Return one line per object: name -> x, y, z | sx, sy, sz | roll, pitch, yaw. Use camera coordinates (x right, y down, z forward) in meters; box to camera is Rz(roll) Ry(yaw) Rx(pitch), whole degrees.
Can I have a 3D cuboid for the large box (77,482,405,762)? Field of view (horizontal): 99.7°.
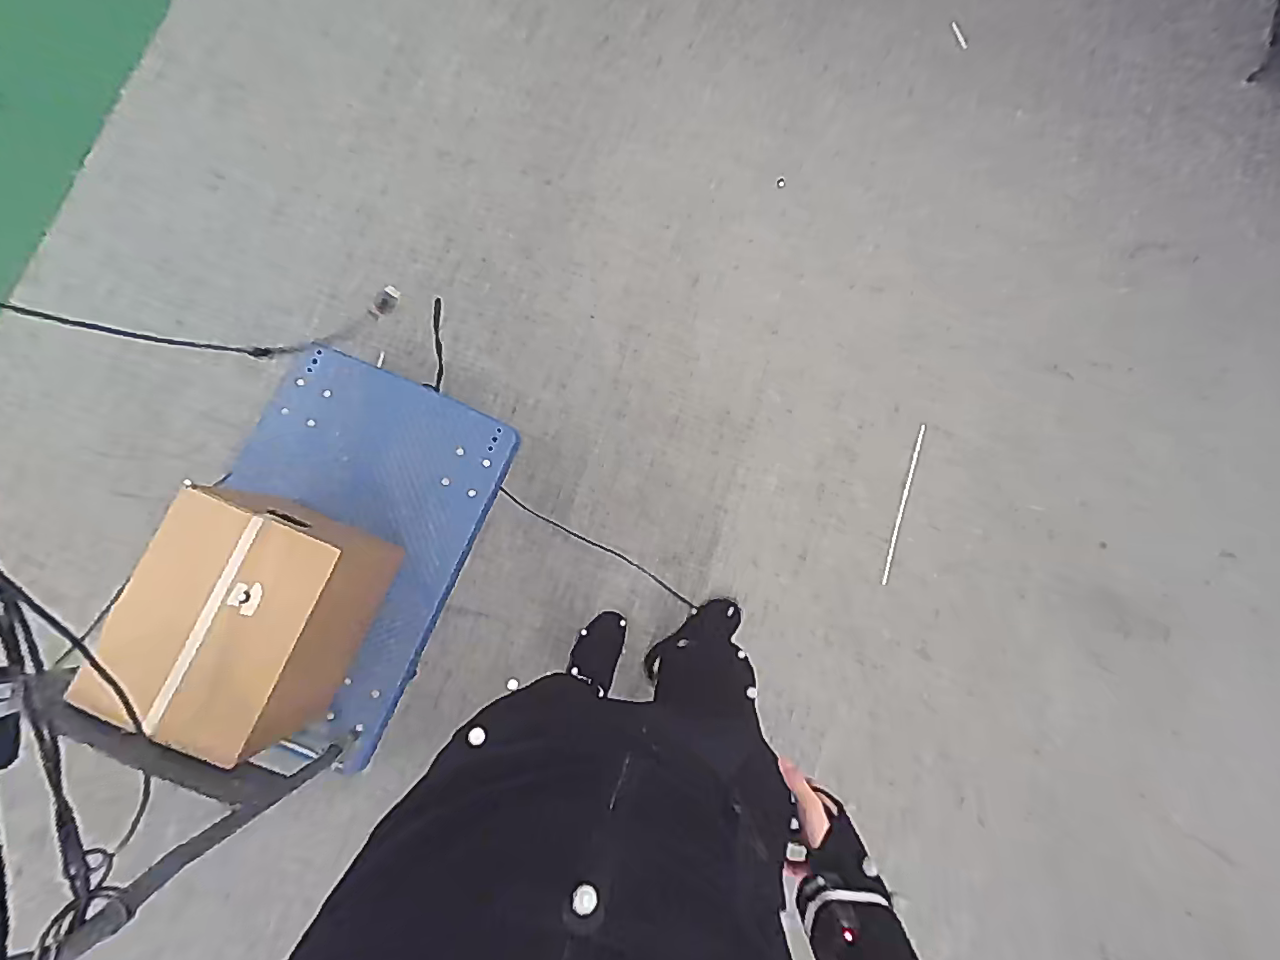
large box -> -0.751, 0.264, 1.089 | 0.320, 0.320, 0.408 | 23, 81, 0
